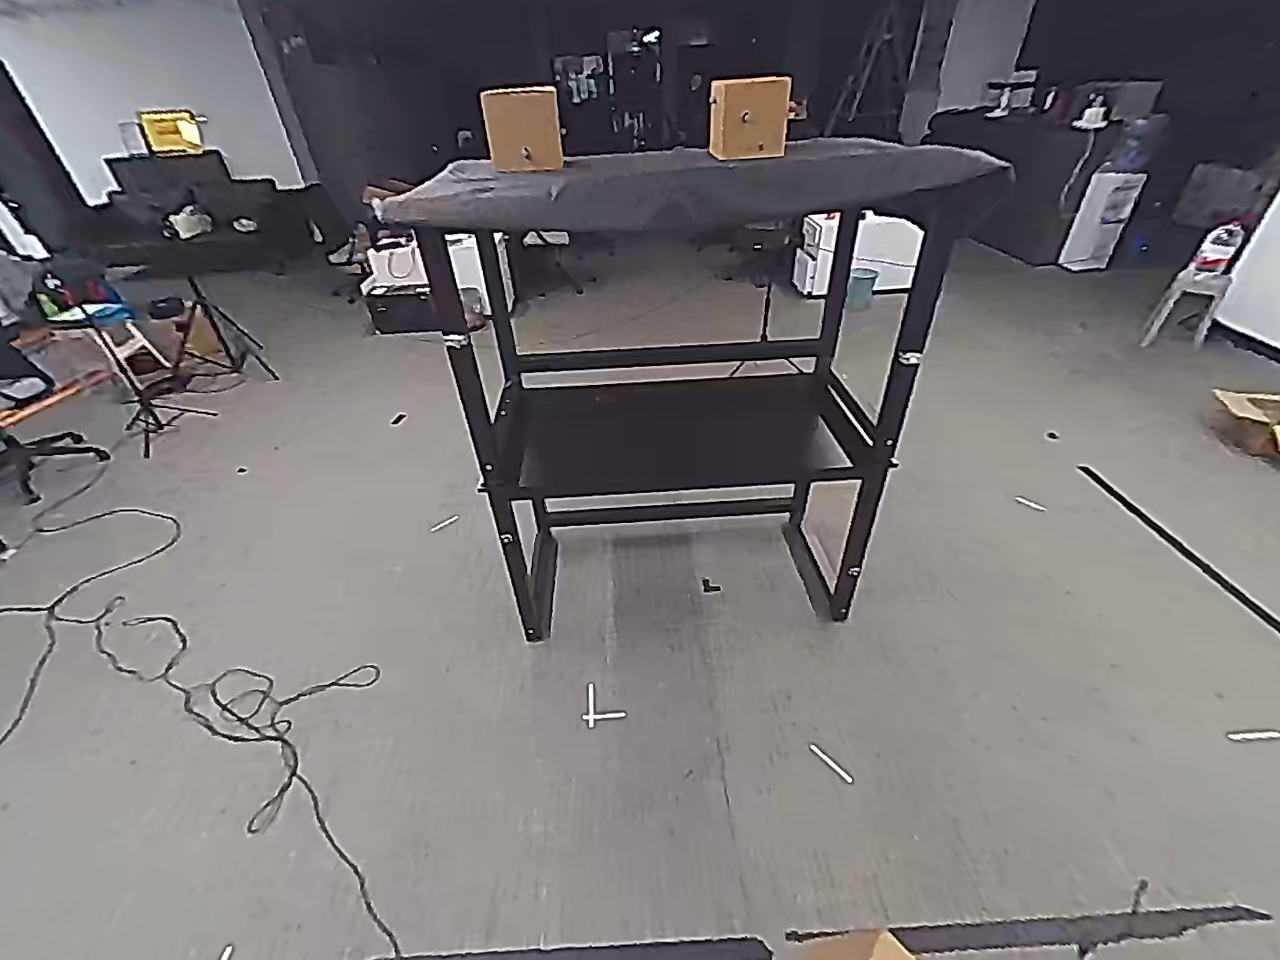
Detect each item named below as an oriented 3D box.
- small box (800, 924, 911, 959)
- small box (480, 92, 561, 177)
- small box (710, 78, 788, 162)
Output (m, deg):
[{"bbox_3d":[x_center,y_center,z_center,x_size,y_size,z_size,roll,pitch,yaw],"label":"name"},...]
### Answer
[{"bbox_3d":[0.234,0.604,0.541,0.179,0.176,0.168,40,49,20],"label":"small box"},{"bbox_3d":[-0.298,-0.891,1.391,0.179,0.176,0.168,-4,37,-3],"label":"small box"},{"bbox_3d":[0.277,-0.938,1.412,0.168,0.176,0.179,-5,37,-1],"label":"small box"}]
